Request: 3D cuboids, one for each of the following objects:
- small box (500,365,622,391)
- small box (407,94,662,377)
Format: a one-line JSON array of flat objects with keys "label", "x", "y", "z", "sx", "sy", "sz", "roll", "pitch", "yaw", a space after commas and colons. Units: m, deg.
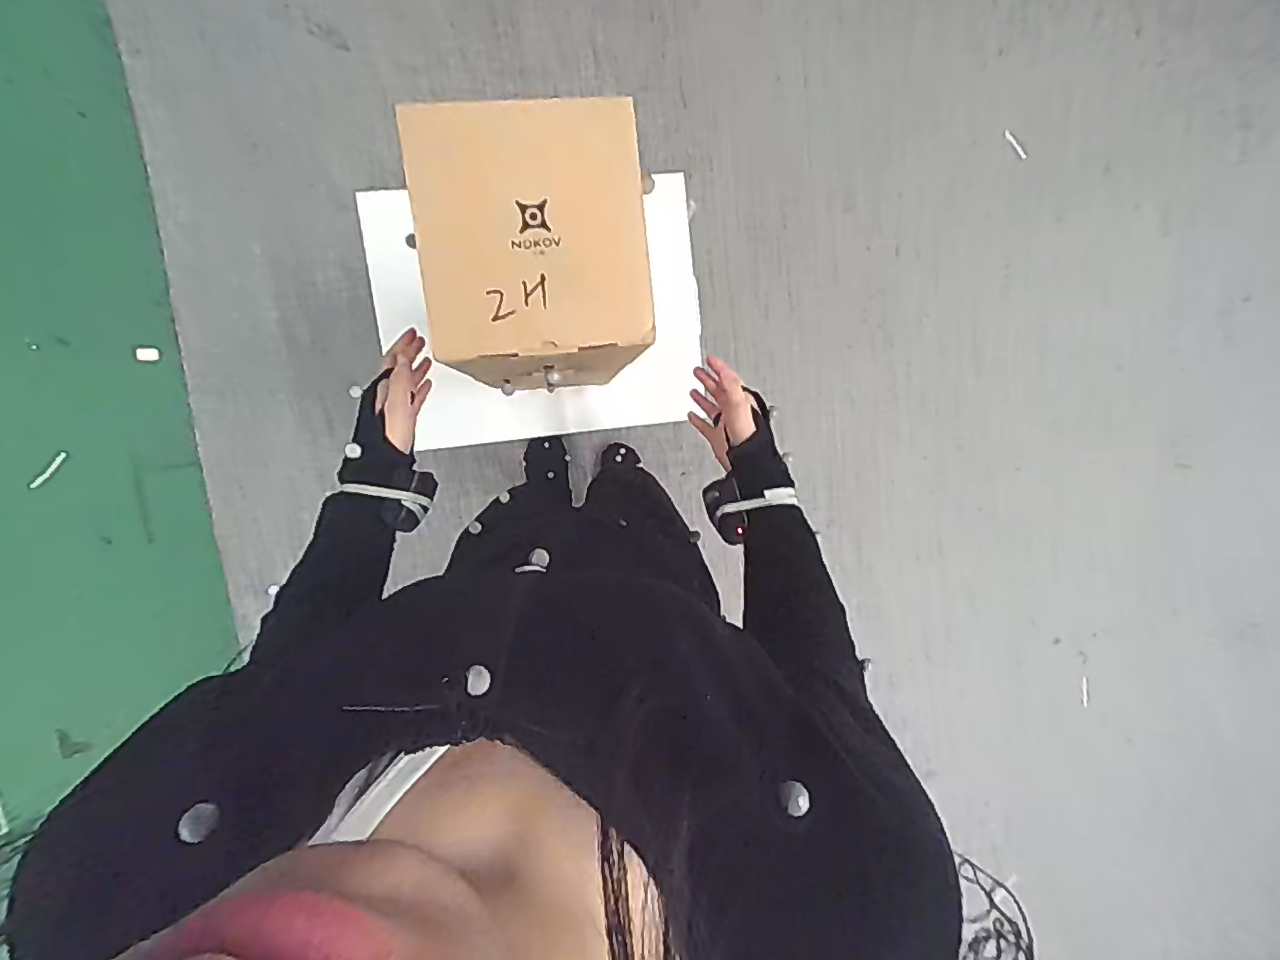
[{"label": "small box", "x": -0.121, "y": -0.228, "z": 0.788, "sx": 0.168, "sy": 0.176, "sz": 0.179, "roll": -5, "pitch": 97, "yaw": -7}, {"label": "small box", "x": -0.082, "y": -0.189, "z": 0.463, "sx": 0.168, "sy": 0.176, "sz": 0.179, "roll": -7, "pitch": 97, "yaw": -7}]
